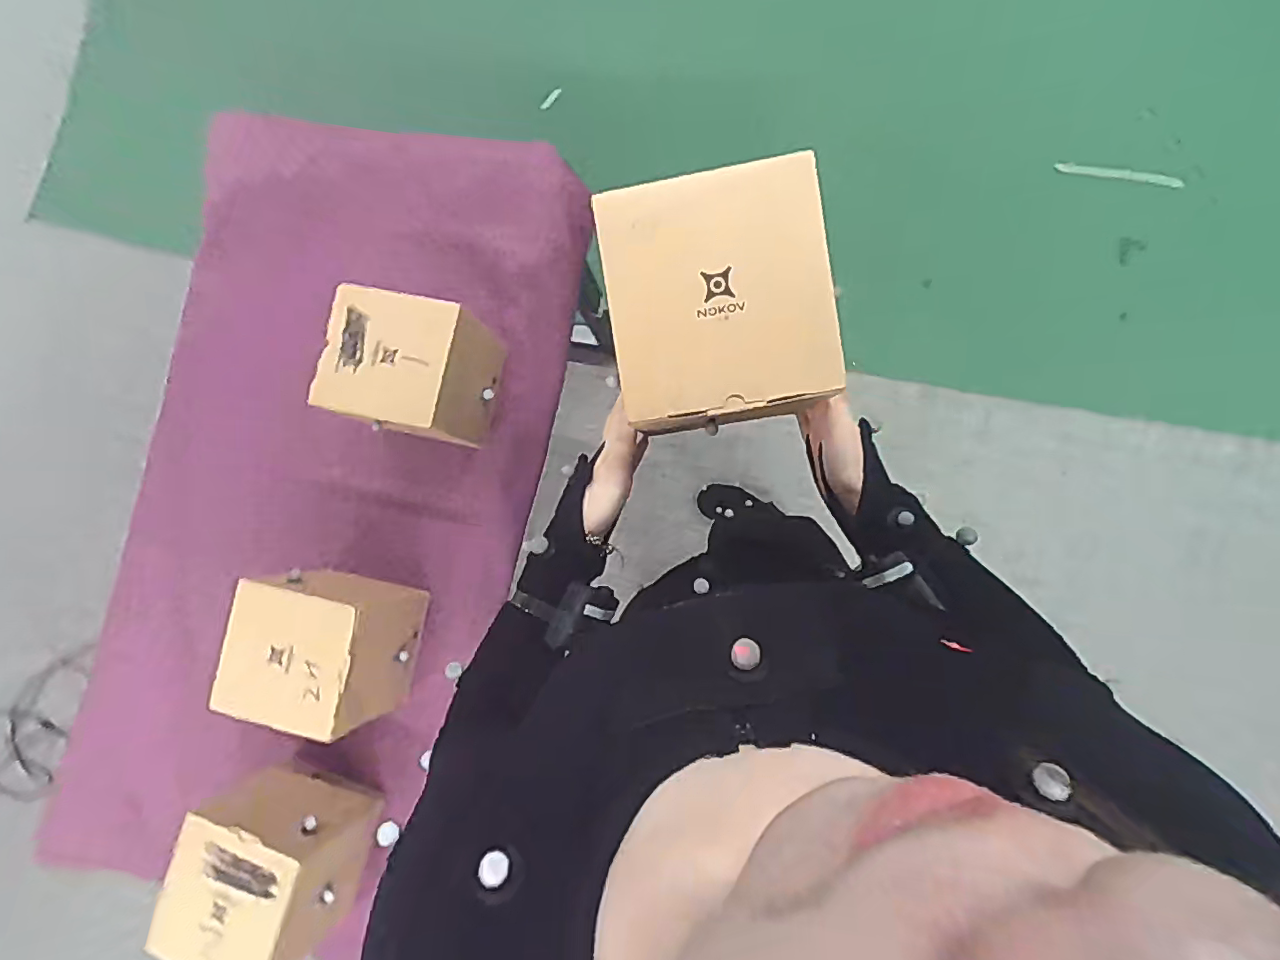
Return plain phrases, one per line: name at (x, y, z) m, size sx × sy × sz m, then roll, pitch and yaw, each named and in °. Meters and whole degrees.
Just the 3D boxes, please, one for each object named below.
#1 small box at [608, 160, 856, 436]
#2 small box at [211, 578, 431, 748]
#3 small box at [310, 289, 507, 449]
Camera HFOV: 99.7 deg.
small box at (0.071, -0.138, 0.477) m, size 0.168 × 0.176 × 0.179 m, roll -8°, pitch 92°, yaw 5°
small box at (-0.422, 0.233, 0.739) m, size 0.179 × 0.176 × 0.168 m, roll 10°, pitch 86°, yaw 9°
small box at (-0.314, -0.147, 0.764) m, size 0.179 × 0.176 × 0.168 m, roll 11°, pitch 86°, yaw 8°
